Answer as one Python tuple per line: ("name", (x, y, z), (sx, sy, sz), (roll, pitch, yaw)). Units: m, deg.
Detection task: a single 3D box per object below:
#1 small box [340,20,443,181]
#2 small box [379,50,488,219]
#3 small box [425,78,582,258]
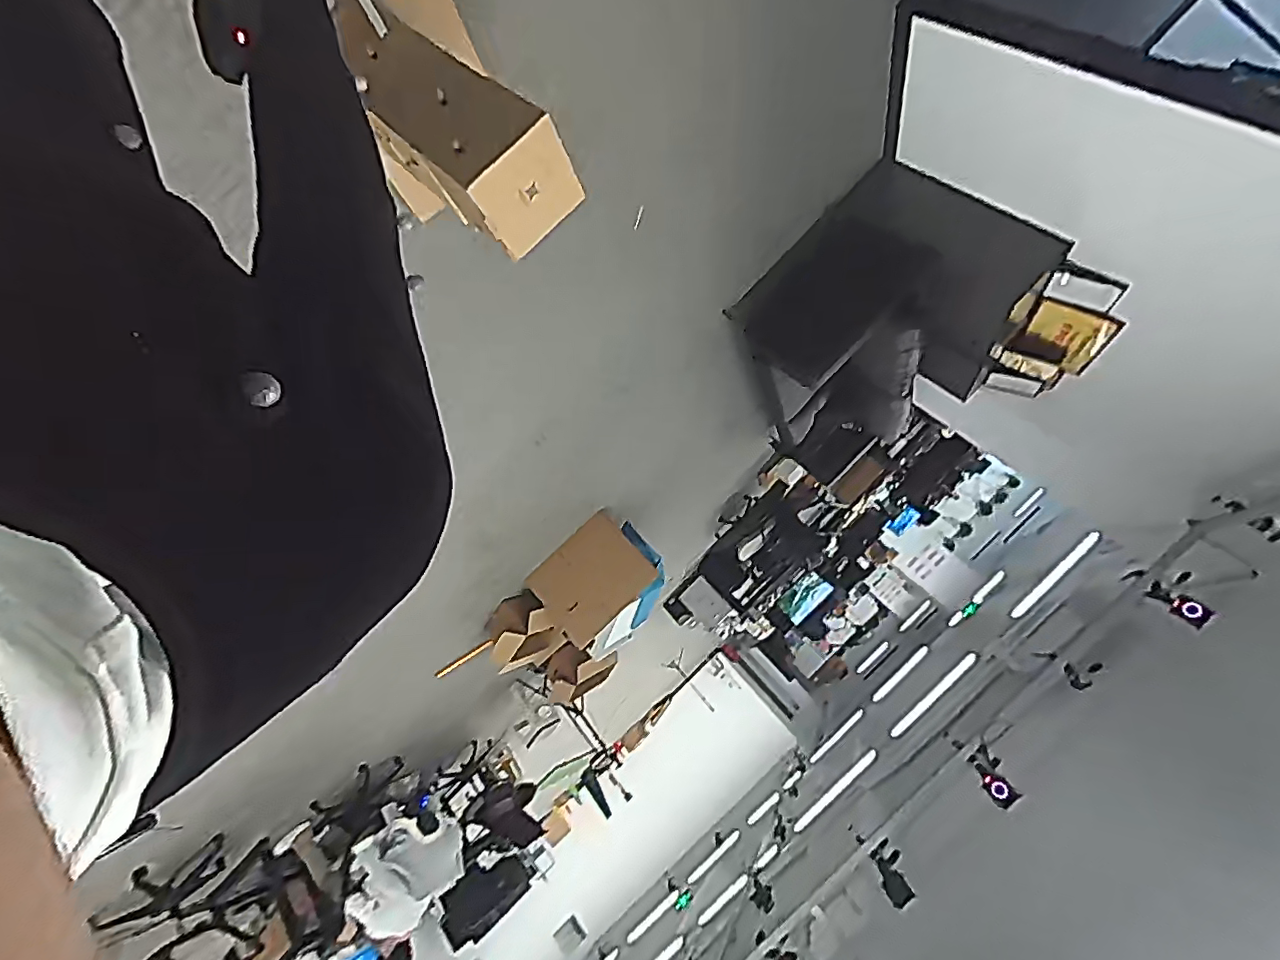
("small box", (-0.448, -0.737, 1.052), (0.179, 0.176, 0.168), (-42, 156, -3))
("small box", (-0.344, -0.629, 0.988), (0.179, 0.176, 0.168), (-44, 155, -3))
("small box", (-0.236, -0.528, 0.920), (0.179, 0.176, 0.168), (-44, 156, -2))
